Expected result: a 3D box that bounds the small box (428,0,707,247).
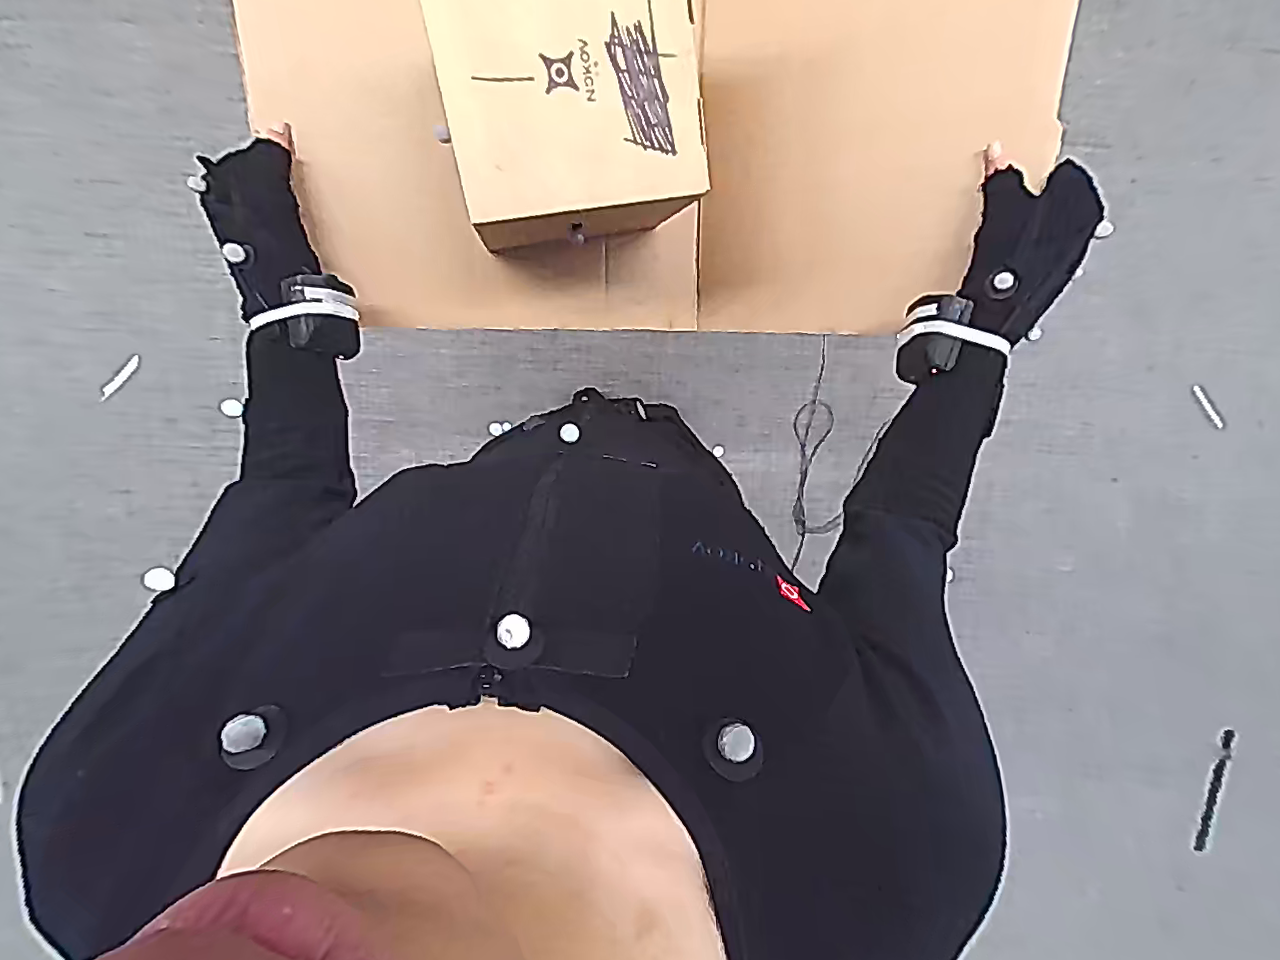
[{"bbox_3d":[-0.059,-0.296,0.445,0.179,0.176,0.168,-12,109,-8],"label":"small box"}]
